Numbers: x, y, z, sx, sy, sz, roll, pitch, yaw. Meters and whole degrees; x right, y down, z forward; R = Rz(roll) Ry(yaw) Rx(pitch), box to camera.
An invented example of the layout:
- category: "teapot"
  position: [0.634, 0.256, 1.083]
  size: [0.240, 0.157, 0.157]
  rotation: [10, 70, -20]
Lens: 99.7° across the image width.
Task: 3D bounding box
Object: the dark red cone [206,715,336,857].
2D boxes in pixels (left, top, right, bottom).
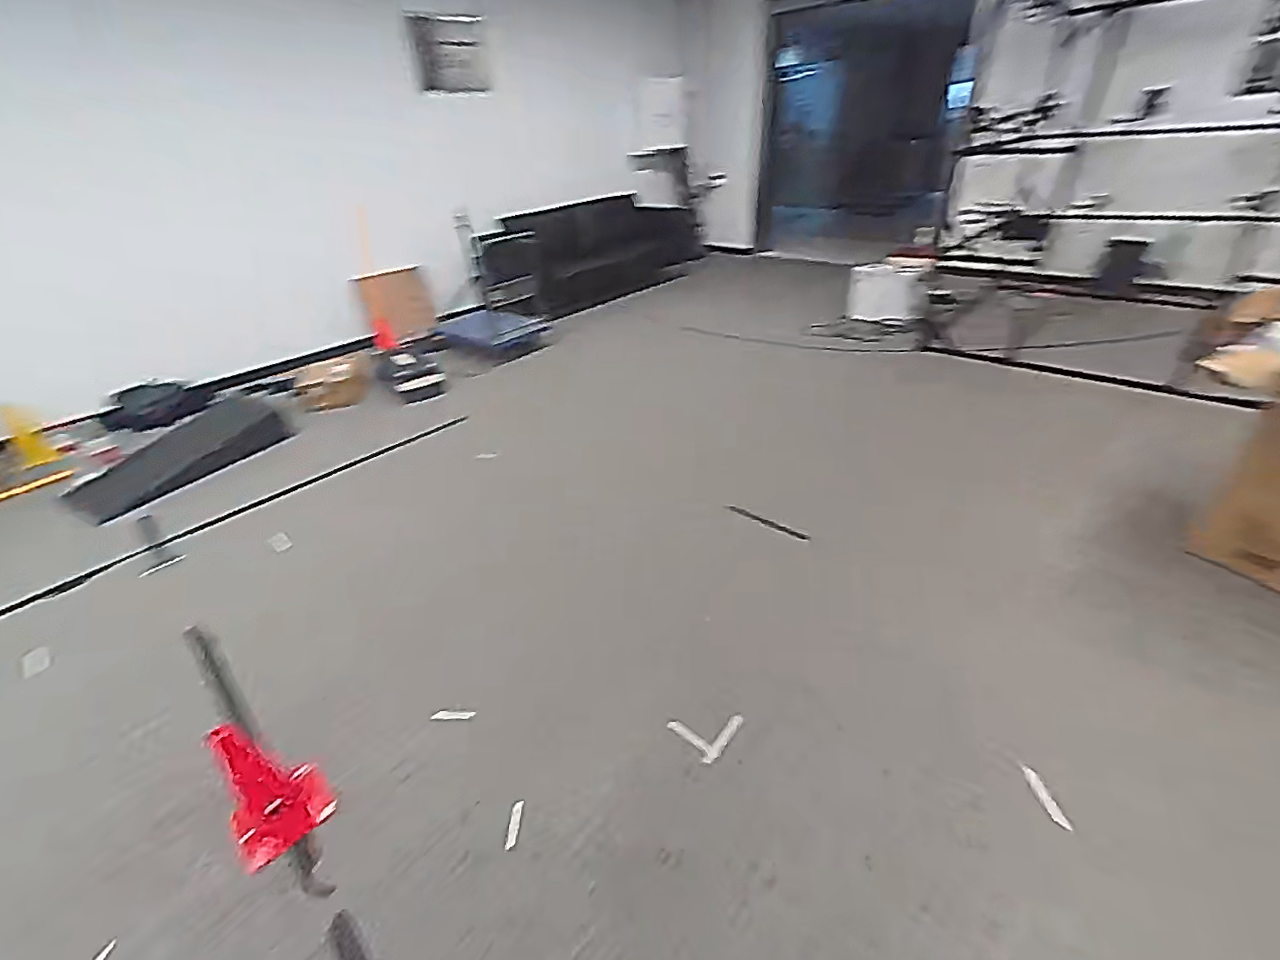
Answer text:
- category: "dark red cone"
  position: [-0.921, 0.689, 1.296]
  size: [0.202, 0.394, 0.201]
  rotation: [24, 43, 36]
